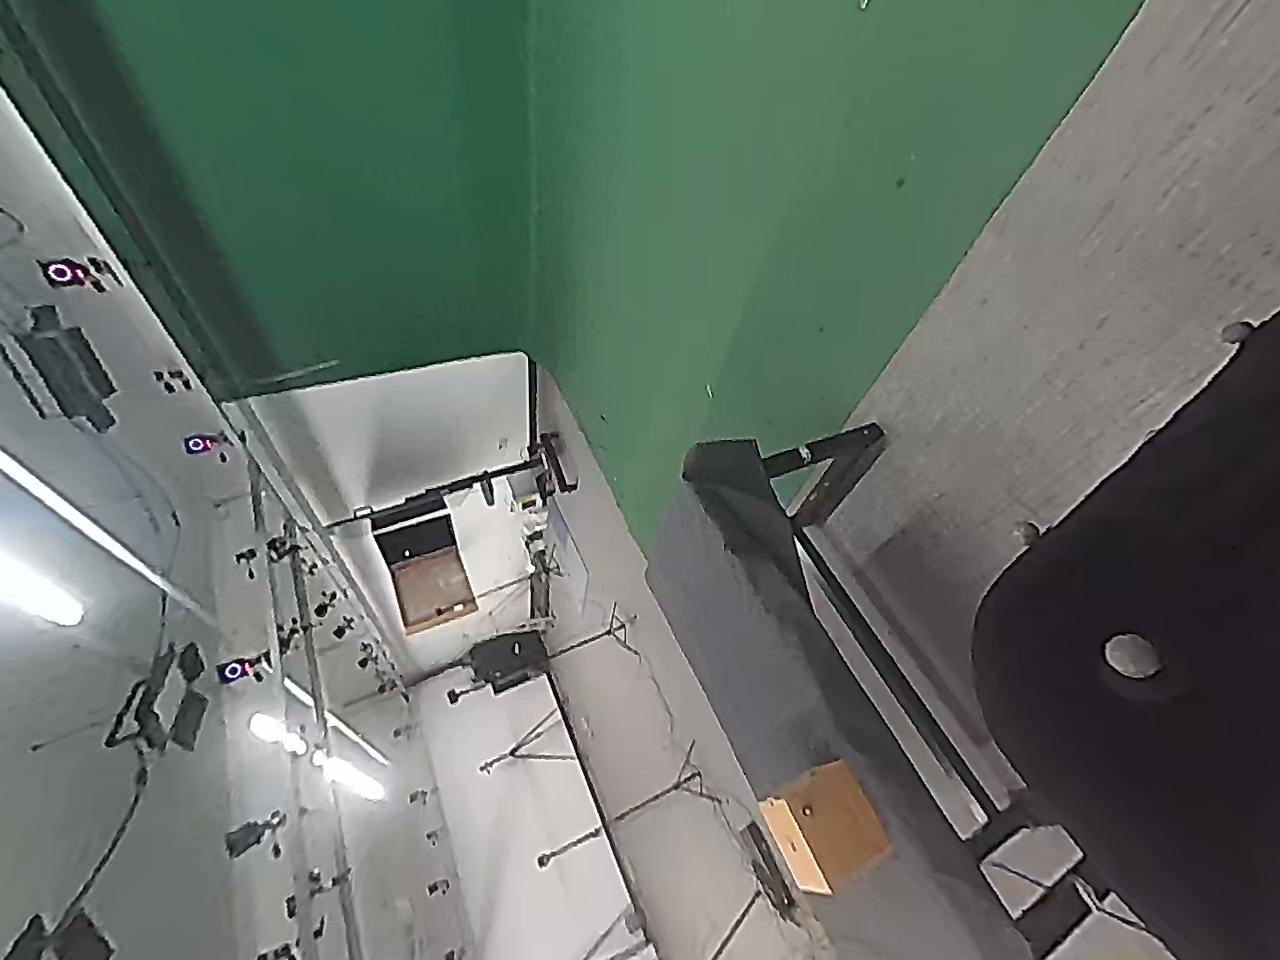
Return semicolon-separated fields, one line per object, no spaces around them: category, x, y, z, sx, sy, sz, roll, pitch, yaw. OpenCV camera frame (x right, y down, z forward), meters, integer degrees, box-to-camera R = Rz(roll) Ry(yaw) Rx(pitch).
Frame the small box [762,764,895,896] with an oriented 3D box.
small box;0.394;0.733;1.143;0.168;0.176;0.179;105;143;-55
